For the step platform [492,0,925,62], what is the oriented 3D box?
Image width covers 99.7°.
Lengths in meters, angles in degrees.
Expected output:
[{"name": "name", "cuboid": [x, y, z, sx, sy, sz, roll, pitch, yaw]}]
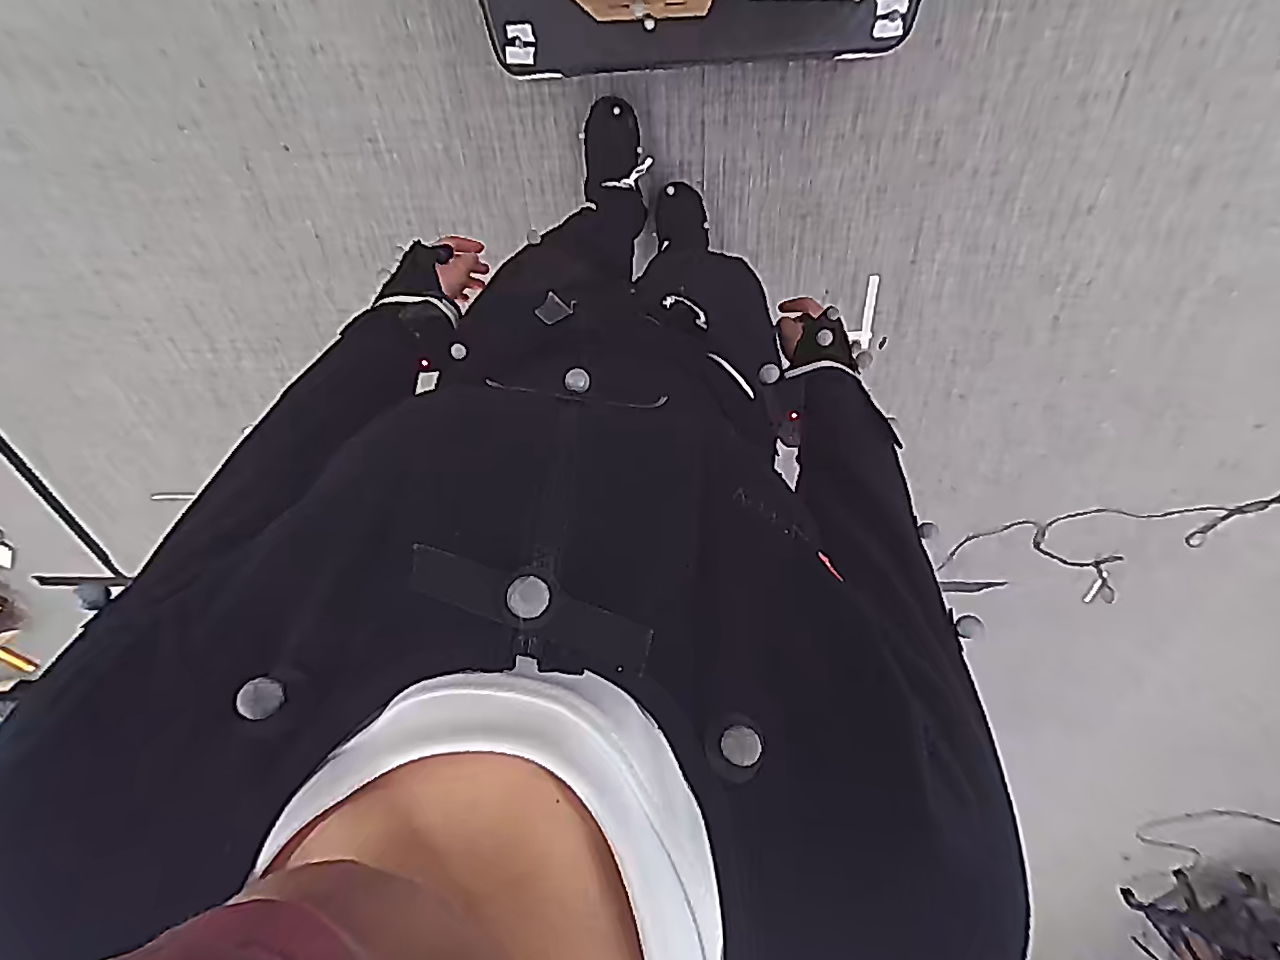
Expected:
[{"name": "step platform", "cuboid": [0.101, -0.835, 0.819, 0.684, 0.204, 0.286, -1, 126, 4]}]

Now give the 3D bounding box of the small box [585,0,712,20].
[{"name": "small box", "cuboid": [0.012, -0.717, 0.696, 0.168, 0.176, 0.179, 1, 127, 3]}]

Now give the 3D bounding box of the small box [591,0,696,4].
[{"name": "small box", "cuboid": [0.002, -0.623, 0.562, 0.168, 0.176, 0.179, 0, 127, 3]}]
